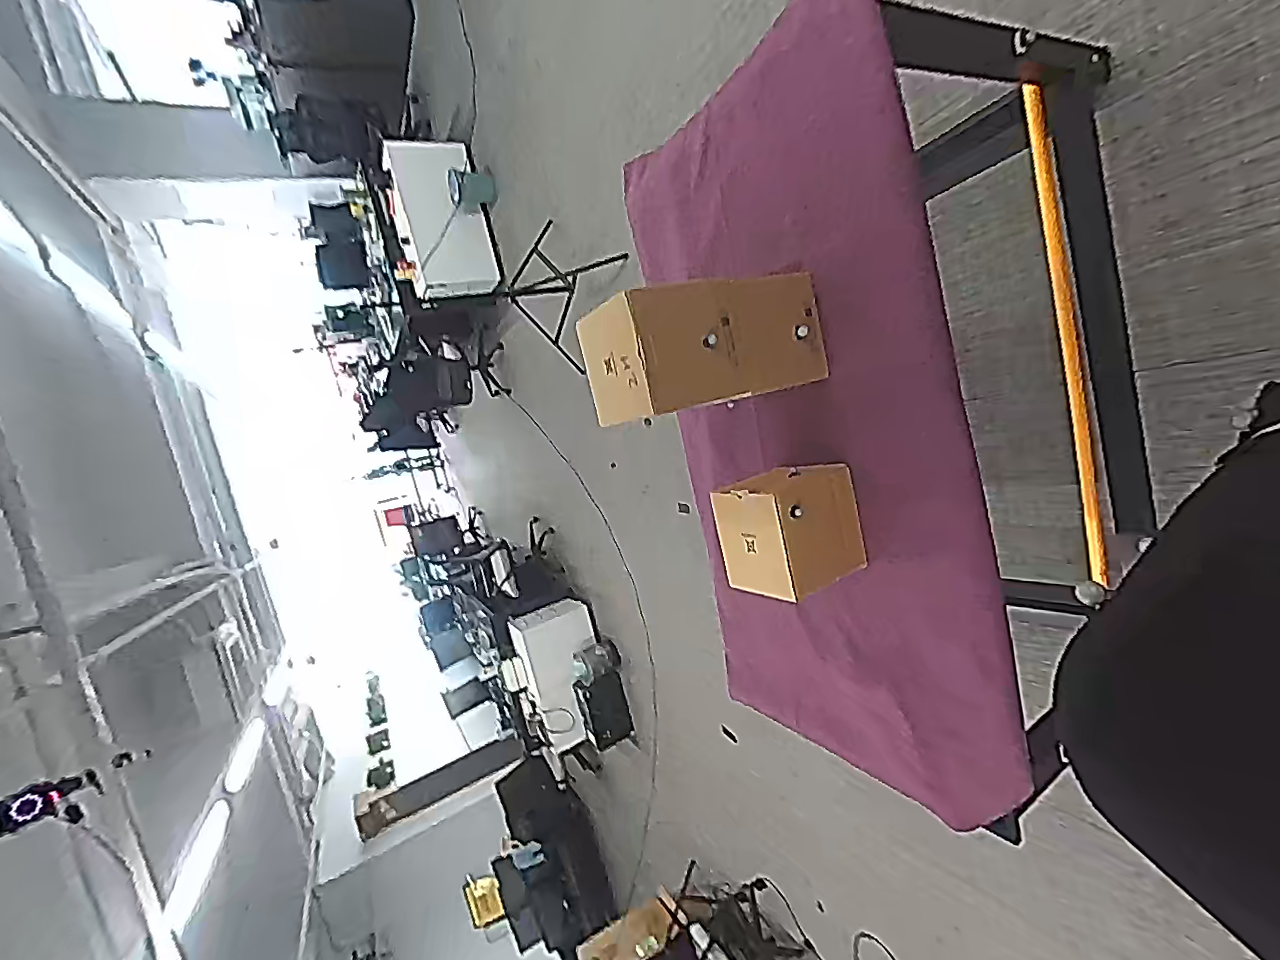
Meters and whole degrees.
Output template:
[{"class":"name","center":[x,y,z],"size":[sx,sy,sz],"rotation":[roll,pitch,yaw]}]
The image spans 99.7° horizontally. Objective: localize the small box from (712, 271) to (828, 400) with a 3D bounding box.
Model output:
[{"class":"small box","center":[0.172,-0.226,0.877],"size":[0.179,0.176,0.168],"rotation":[0,105,61]}]

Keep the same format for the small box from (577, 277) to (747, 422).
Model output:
[{"class":"small box","center":[0.030,-0.188,0.801],"size":[0.179,0.176,0.168],"rotation":[0,106,62]}]

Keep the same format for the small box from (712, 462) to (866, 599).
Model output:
[{"class":"small box","center":[0.251,0.077,0.906],"size":[0.168,0.176,0.179],"rotation":[-3,102,62]}]
